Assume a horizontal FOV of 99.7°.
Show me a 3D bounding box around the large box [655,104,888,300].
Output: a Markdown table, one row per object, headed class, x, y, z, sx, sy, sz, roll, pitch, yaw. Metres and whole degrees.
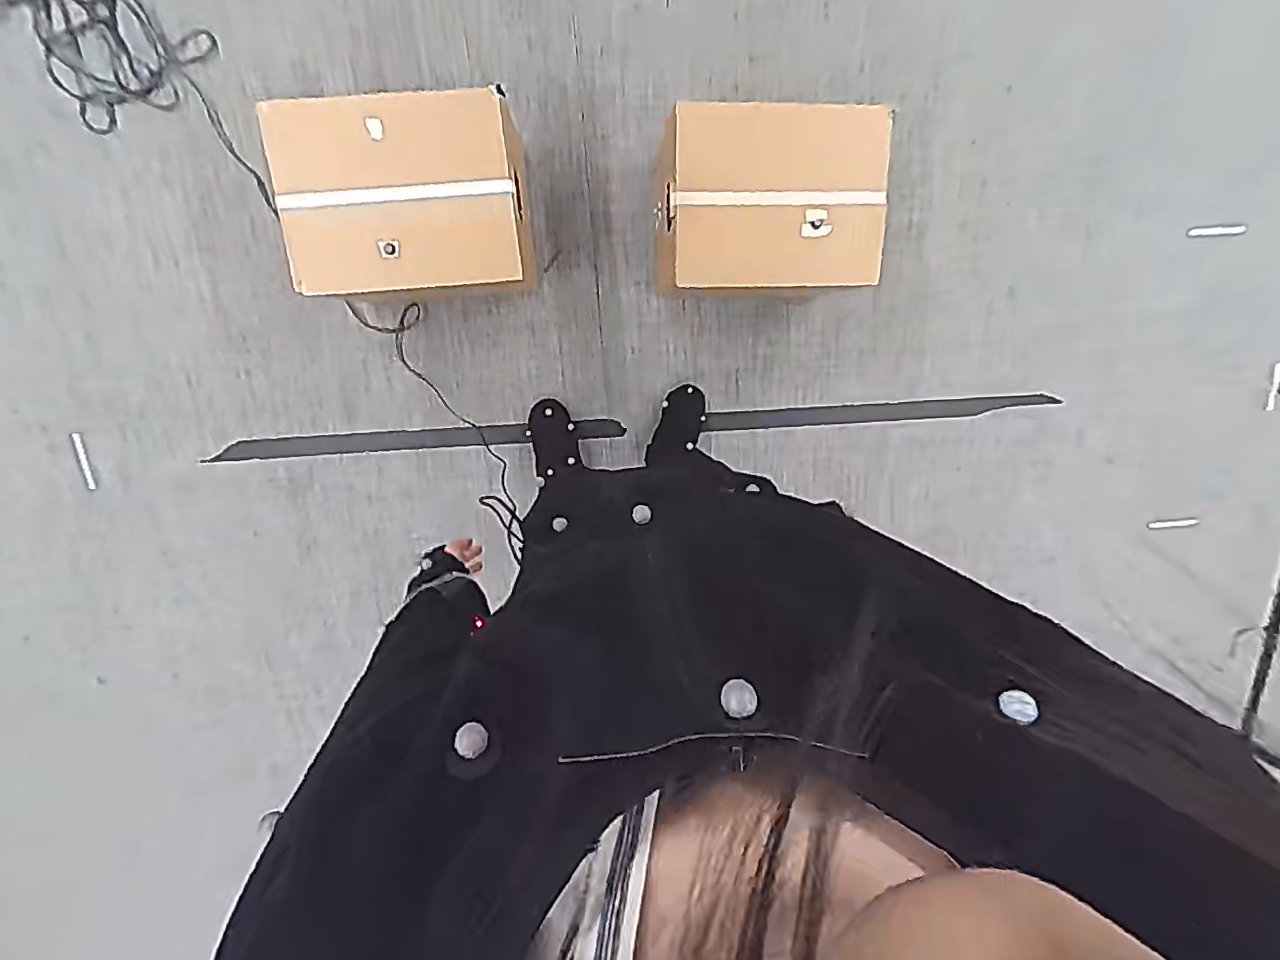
| class | x | y | z | sx | sy | sz | roll | pitch | yaw |
| --- | --- | --- | --- | --- | --- | --- | --- | --- | --- |
| large box | 0.251 | -0.566 | 1.161 | 0.408 | 0.320 | 0.320 | -2 | 105 | -5 |
